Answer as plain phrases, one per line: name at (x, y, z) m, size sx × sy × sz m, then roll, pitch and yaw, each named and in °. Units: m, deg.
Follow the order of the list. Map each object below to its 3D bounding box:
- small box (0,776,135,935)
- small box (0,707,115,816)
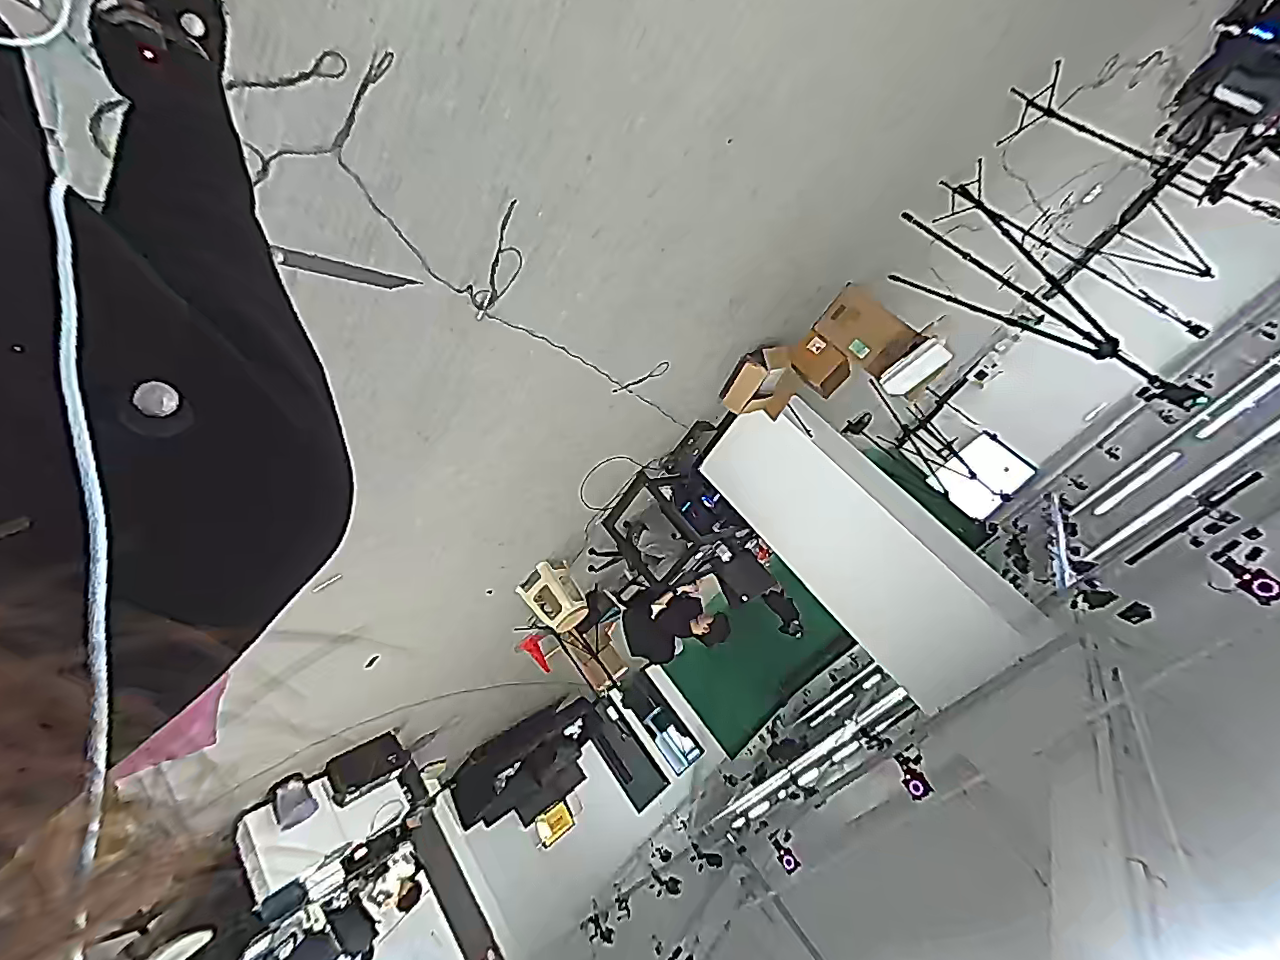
small box at (-1.120, 0.716, 1.053) m, size 0.168 × 0.176 × 0.179 m, roll -9°, pitch 142°, yaw -52°
small box at (-1.217, 0.595, 1.106) m, size 0.168 × 0.176 × 0.179 m, roll -4°, pitch 138°, yaw -55°
